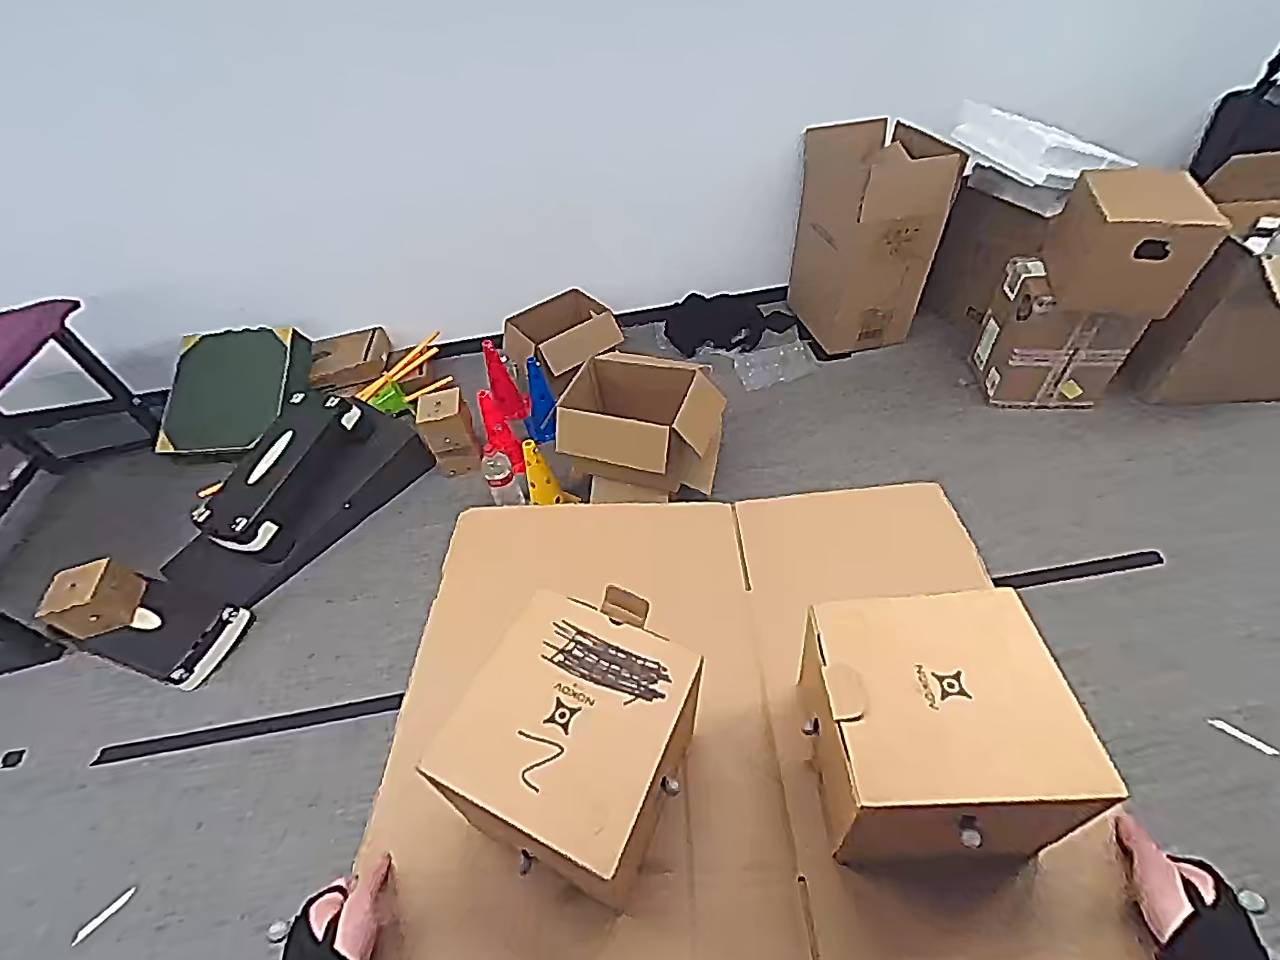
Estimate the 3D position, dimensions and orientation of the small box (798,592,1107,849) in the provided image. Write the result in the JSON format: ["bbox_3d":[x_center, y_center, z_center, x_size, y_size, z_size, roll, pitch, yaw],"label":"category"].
[{"bbox_3d":[0.251,0.221,0.493,0.179,0.176,0.168,-6,45,7],"label":"small box"}]
